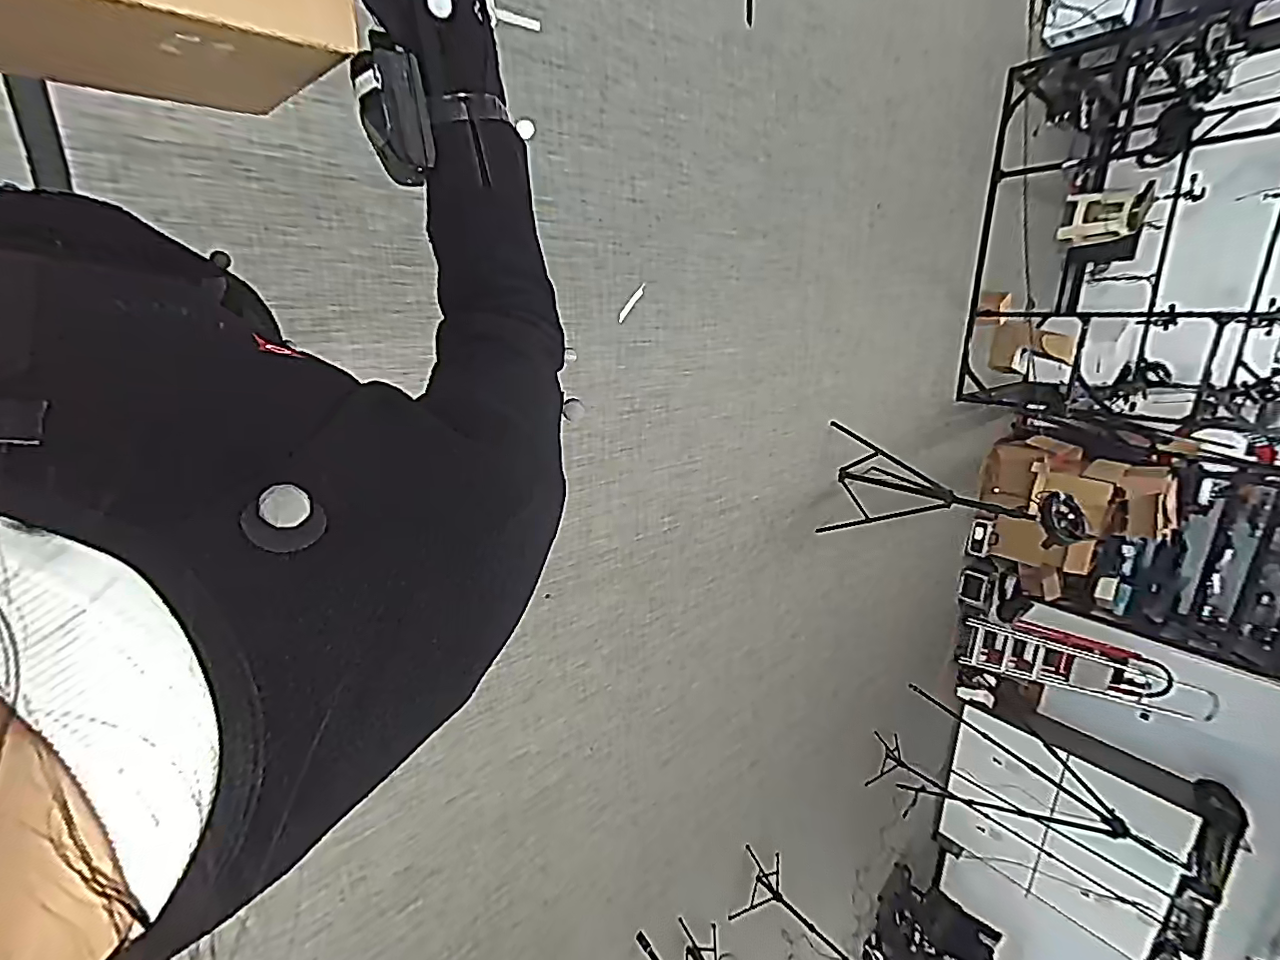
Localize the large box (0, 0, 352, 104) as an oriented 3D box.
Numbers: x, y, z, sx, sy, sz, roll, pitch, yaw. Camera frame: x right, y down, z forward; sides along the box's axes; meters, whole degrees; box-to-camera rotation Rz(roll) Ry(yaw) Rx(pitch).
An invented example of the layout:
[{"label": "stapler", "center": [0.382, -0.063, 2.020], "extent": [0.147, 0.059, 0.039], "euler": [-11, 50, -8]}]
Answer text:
[{"label": "large box", "center": [-0.408, -0.396, 0.234], "extent": [0.408, 0.320, 0.320], "euler": [-17, 123, -38]}]
